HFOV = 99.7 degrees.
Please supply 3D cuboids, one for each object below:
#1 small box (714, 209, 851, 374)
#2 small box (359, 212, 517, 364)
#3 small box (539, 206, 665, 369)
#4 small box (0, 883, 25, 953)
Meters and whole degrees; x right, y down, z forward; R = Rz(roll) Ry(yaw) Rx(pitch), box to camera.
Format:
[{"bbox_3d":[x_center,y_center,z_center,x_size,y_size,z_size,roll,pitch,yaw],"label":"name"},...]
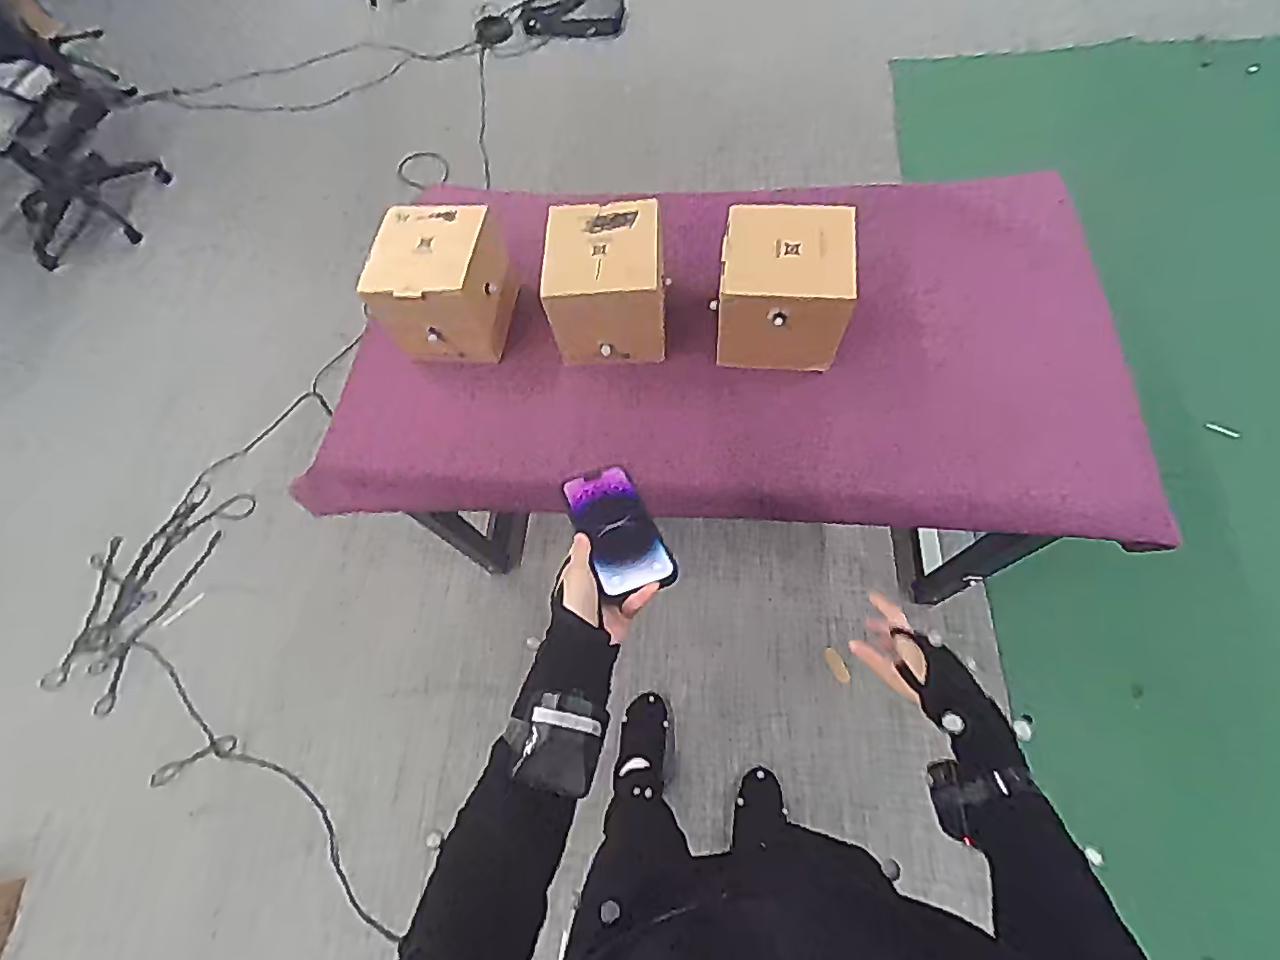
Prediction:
[{"bbox_3d":[0.206,-0.275,0.809,0.179,0.176,0.168,6,67,9],"label":"small box"},{"bbox_3d":[-0.315,-0.306,0.885,0.168,0.176,0.179,3,67,8],"label":"small box"},{"bbox_3d":[-0.050,-0.295,0.848,0.168,0.176,0.179,-2,66,6],"label":"small box"},{"bbox_3d":[-1.577,1.030,1.219,0.179,0.176,0.168,-6,65,4],"label":"small box"}]
